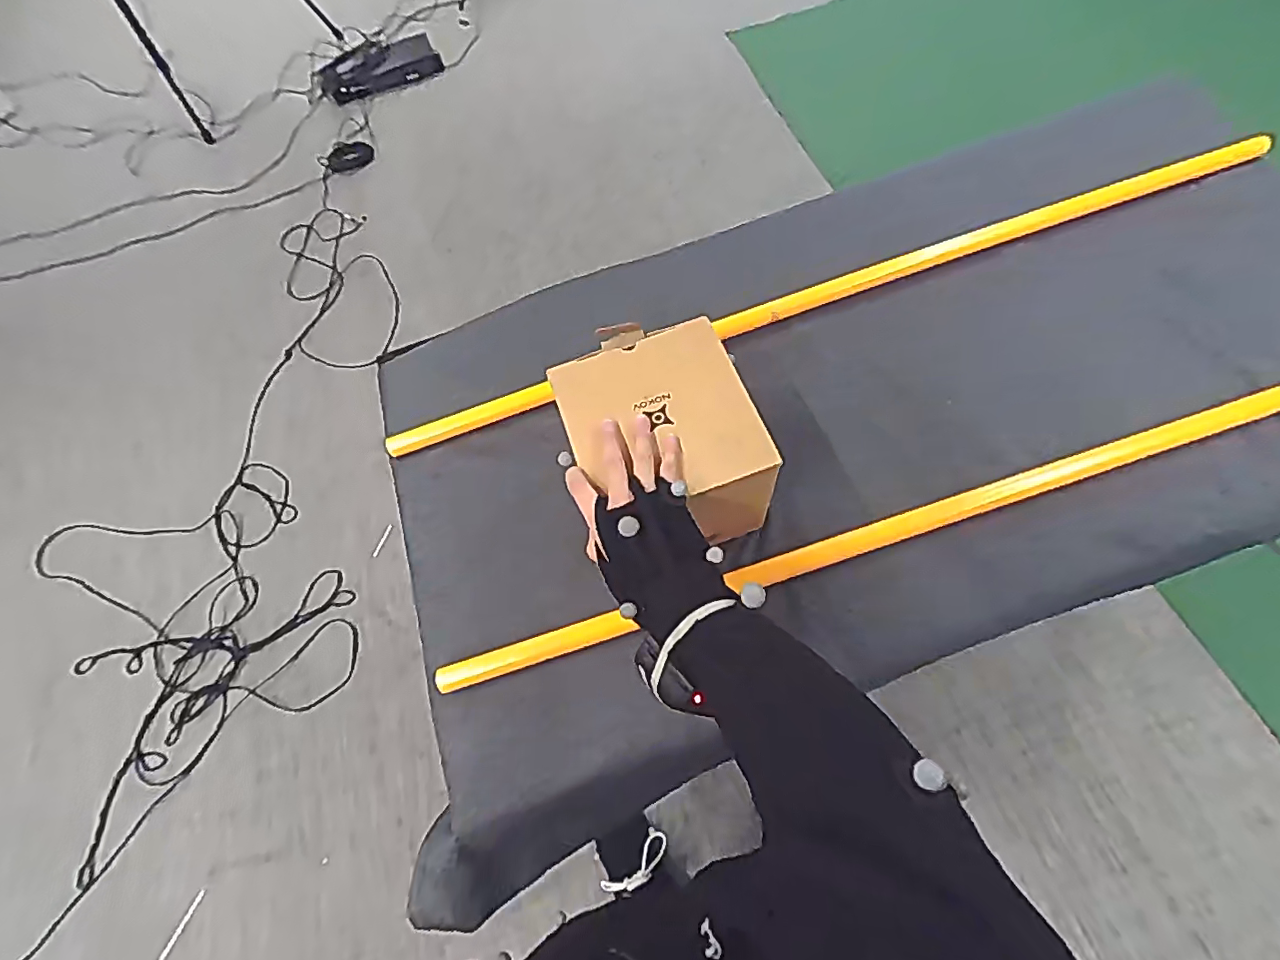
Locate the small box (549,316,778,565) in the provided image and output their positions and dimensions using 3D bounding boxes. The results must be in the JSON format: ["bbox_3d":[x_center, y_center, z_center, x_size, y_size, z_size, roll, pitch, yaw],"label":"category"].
[{"bbox_3d":[0.025,-0.026,0.557,0.168,0.176,0.179,-20,64,-2],"label":"small box"}]
